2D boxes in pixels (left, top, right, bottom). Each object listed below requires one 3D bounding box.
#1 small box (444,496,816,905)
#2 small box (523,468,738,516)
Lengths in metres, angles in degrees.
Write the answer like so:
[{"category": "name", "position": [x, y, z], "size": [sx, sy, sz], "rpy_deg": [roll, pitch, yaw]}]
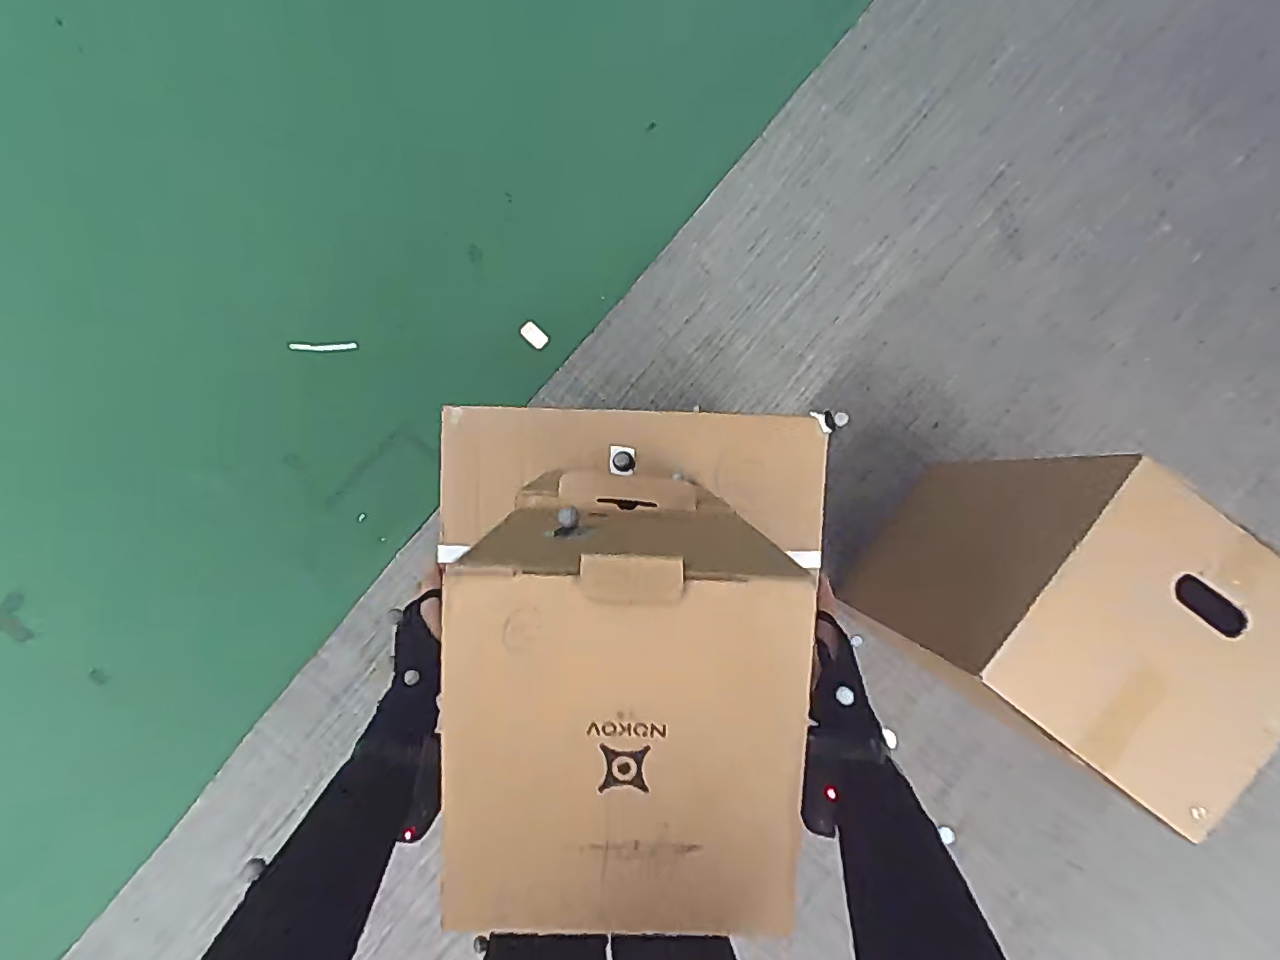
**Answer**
[{"category": "small box", "position": [-0.008, 0.106, 0.328], "size": [0.168, 0.176, 0.179], "rpy_deg": [3, 96, -2]}, {"category": "small box", "position": [-0.018, 0.084, 0.490], "size": [0.168, 0.176, 0.179], "rpy_deg": [5, 95, -2]}]
